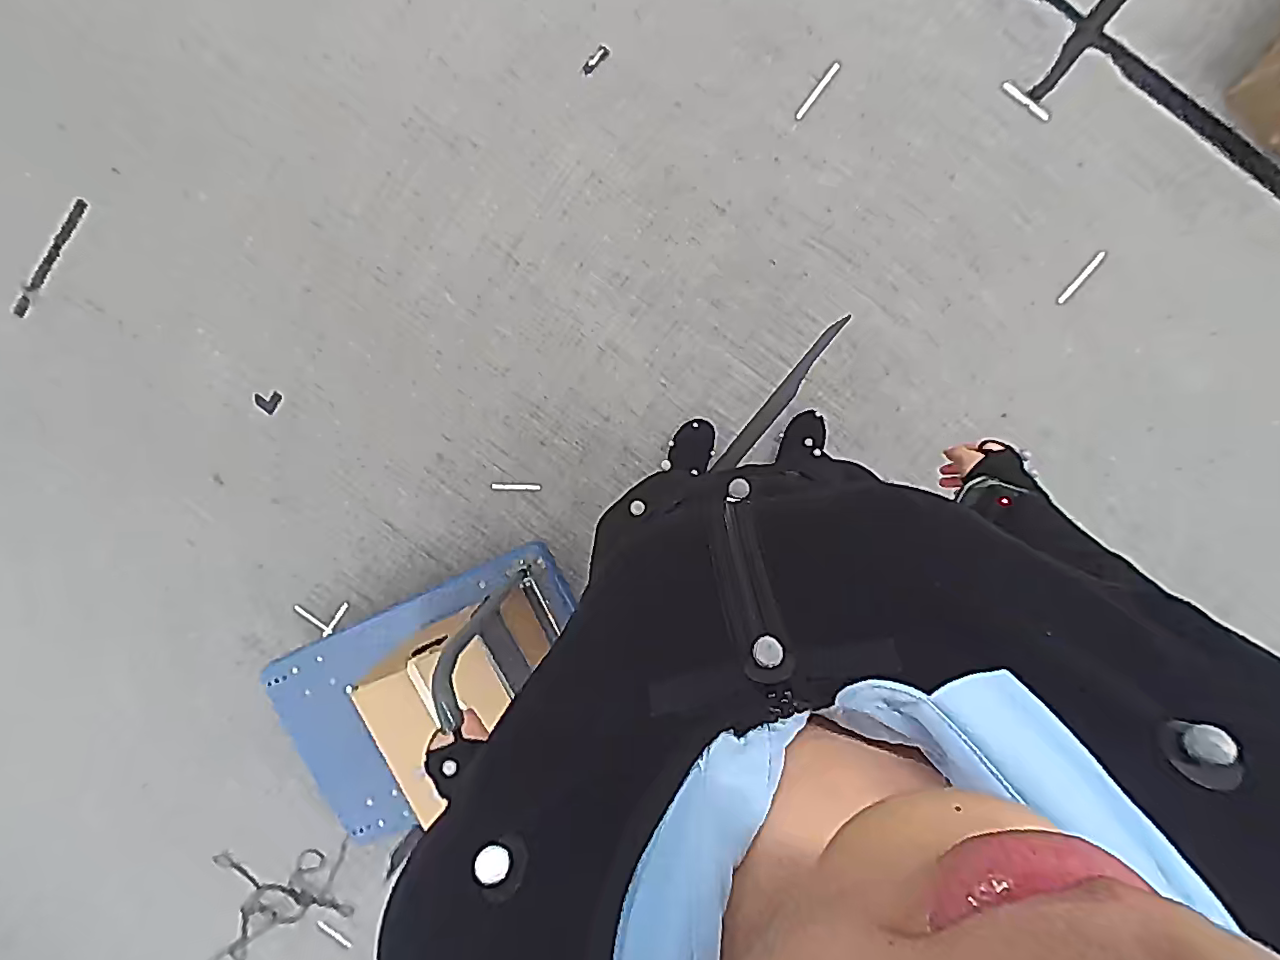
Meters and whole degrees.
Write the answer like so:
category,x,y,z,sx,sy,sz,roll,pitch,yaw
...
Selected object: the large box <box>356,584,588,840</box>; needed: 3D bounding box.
category,x,y,z,sx,sy,sz,roll,pitch,yaw
large box,-0.364,0.522,1.277,0.320,0.320,0.408,-25,94,6
